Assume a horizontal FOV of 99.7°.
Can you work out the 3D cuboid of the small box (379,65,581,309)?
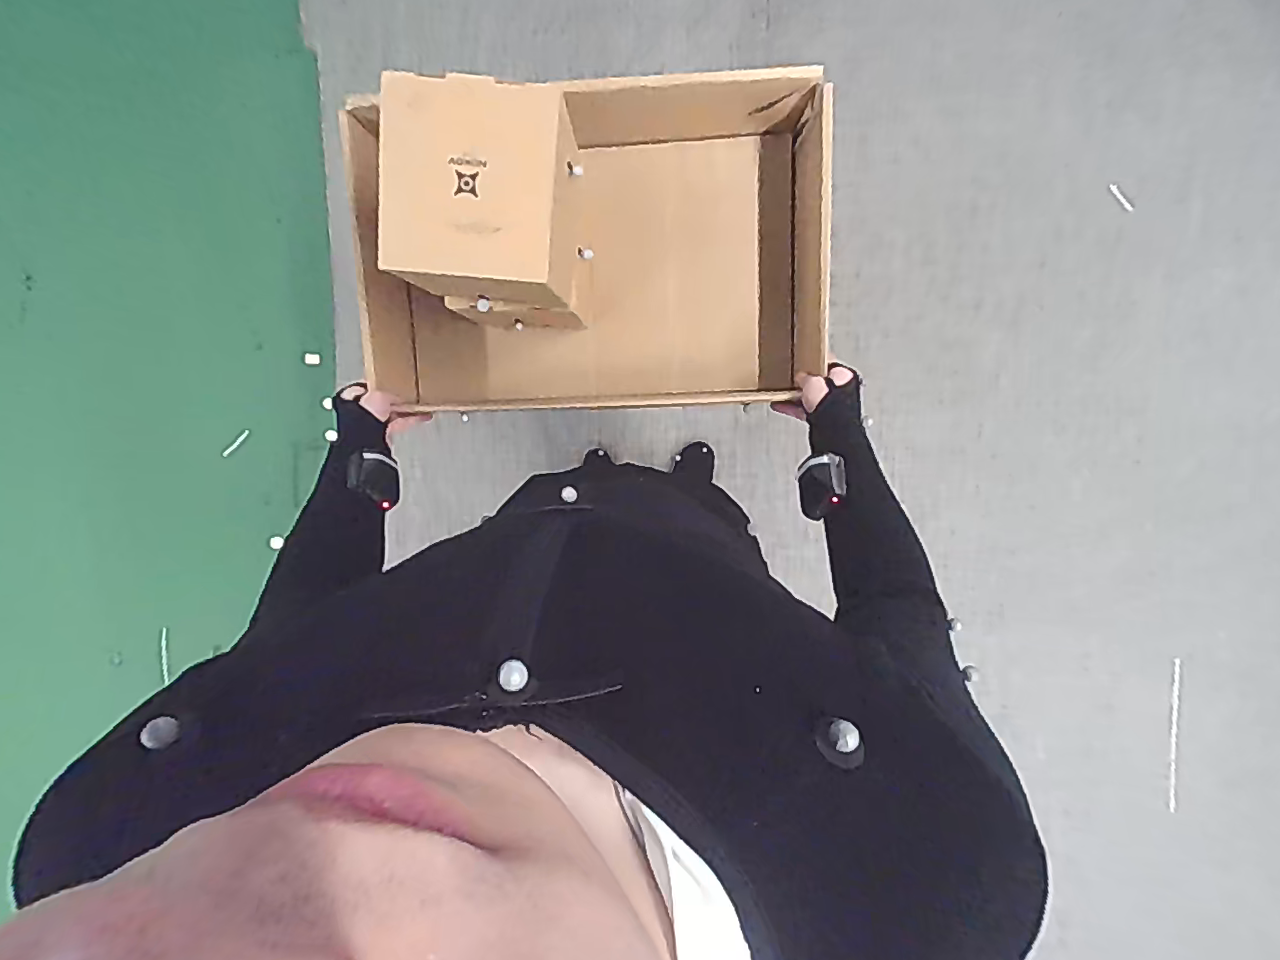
[{"bbox_3d":[-0.157,-0.294,0.581,0.168,0.176,0.179,6,99,0],"label":"small box"}]

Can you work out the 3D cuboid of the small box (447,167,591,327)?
[{"bbox_3d":[-0.158,-0.313,0.744,0.168,0.176,0.179,2,100,-1],"label":"small box"}]
